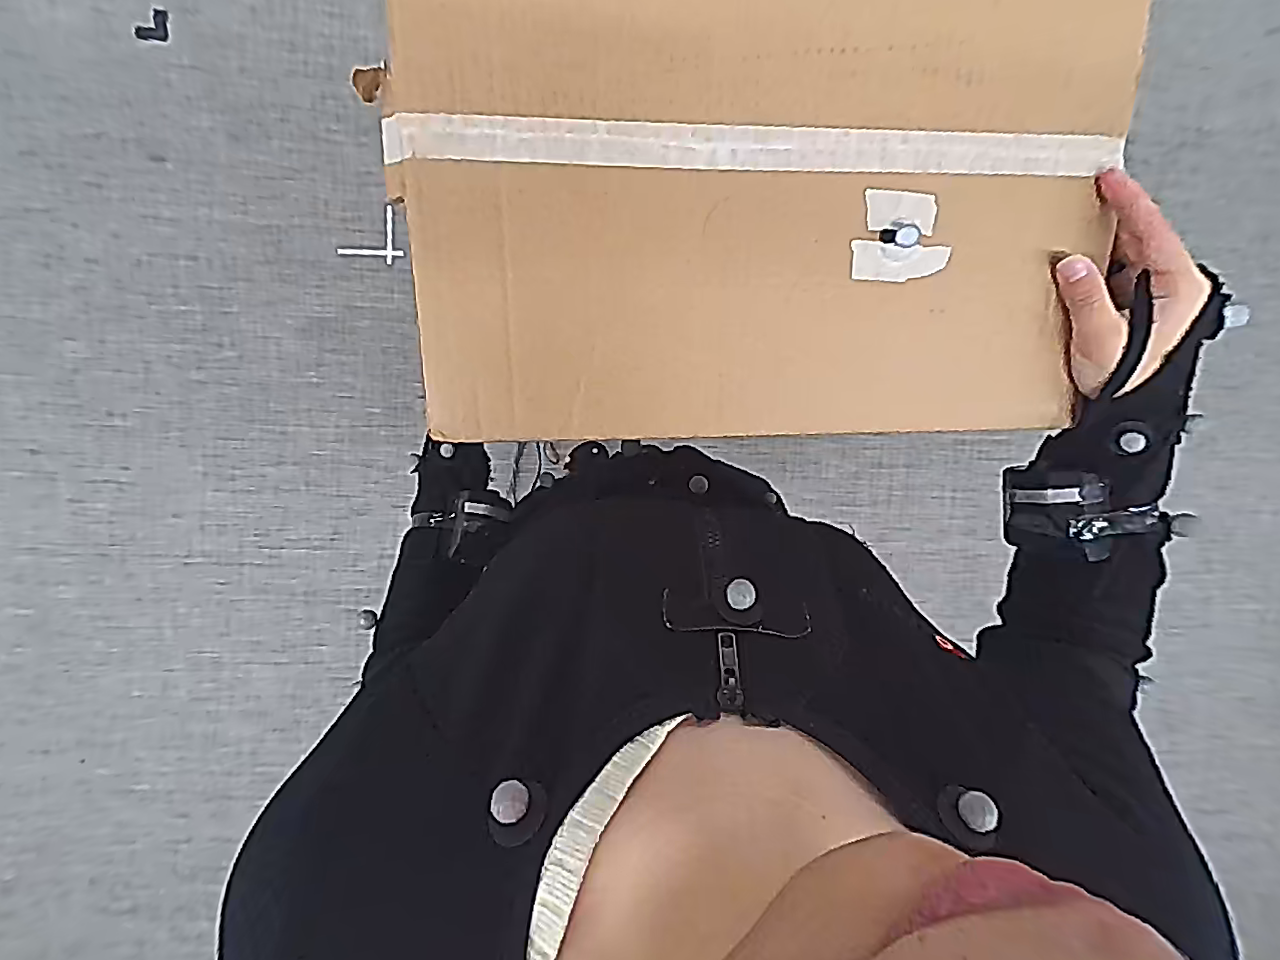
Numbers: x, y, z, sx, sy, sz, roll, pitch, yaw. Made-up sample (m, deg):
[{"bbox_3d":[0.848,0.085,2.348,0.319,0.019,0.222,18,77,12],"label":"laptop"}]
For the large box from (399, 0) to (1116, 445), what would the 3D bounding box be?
[{"bbox_3d":[0.058,-0.212,0.452,0.408,0.320,0.320,-2,103,-7],"label":"large box"}]
